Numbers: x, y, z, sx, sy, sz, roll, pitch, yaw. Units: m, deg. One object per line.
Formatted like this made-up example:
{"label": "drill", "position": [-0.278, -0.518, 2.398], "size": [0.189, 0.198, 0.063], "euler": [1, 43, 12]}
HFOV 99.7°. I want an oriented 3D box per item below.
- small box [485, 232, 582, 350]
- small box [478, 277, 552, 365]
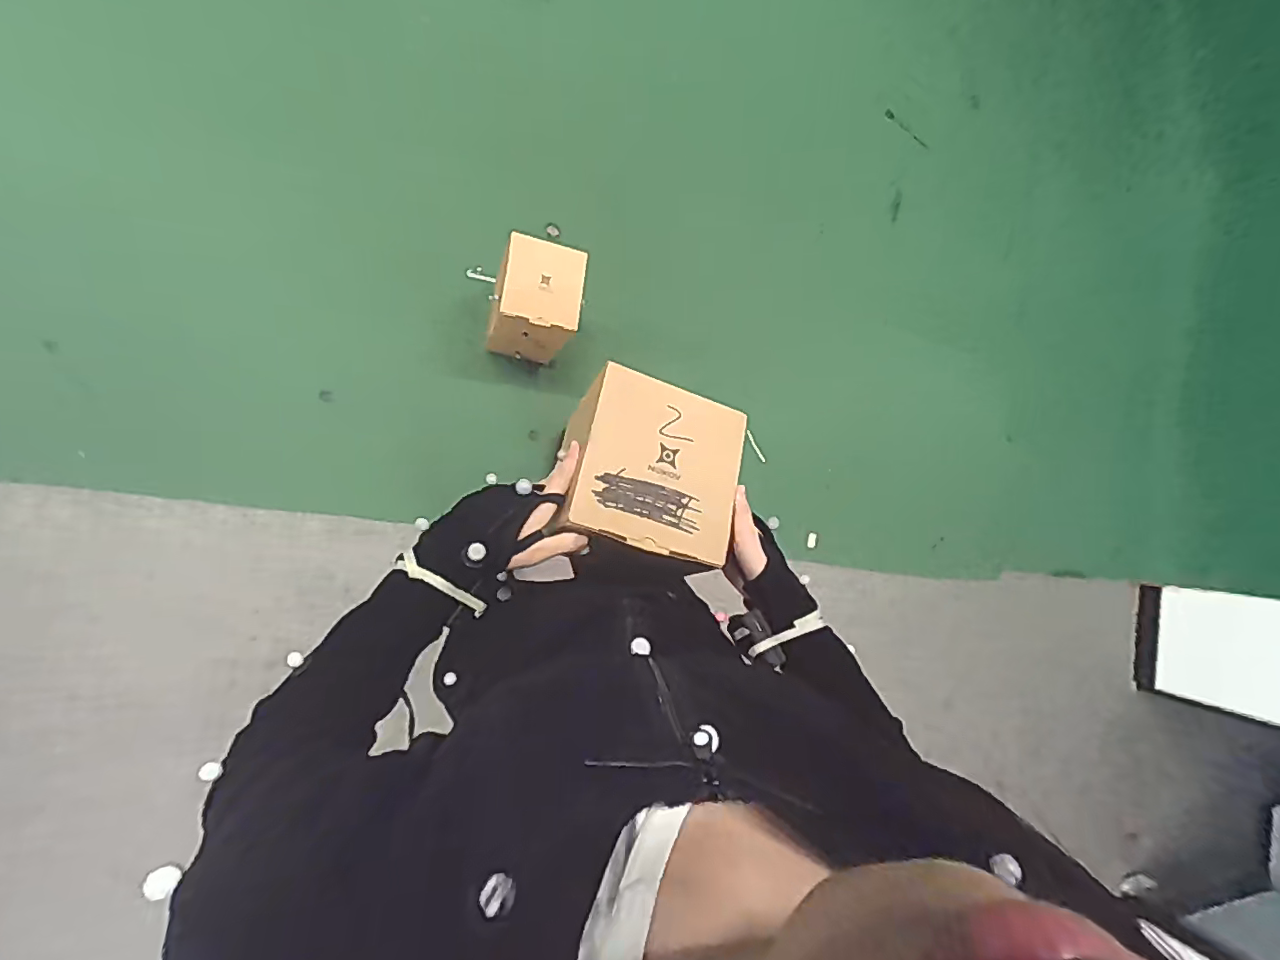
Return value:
{"label": "small box", "position": [-0.240, -0.407, 1.195], "size": [0.168, 0.176, 0.179], "euler": [9, 86, -22]}
{"label": "small box", "position": [-0.303, -0.403, 1.344], "size": [0.168, 0.176, 0.179], "euler": [10, 86, -21]}
